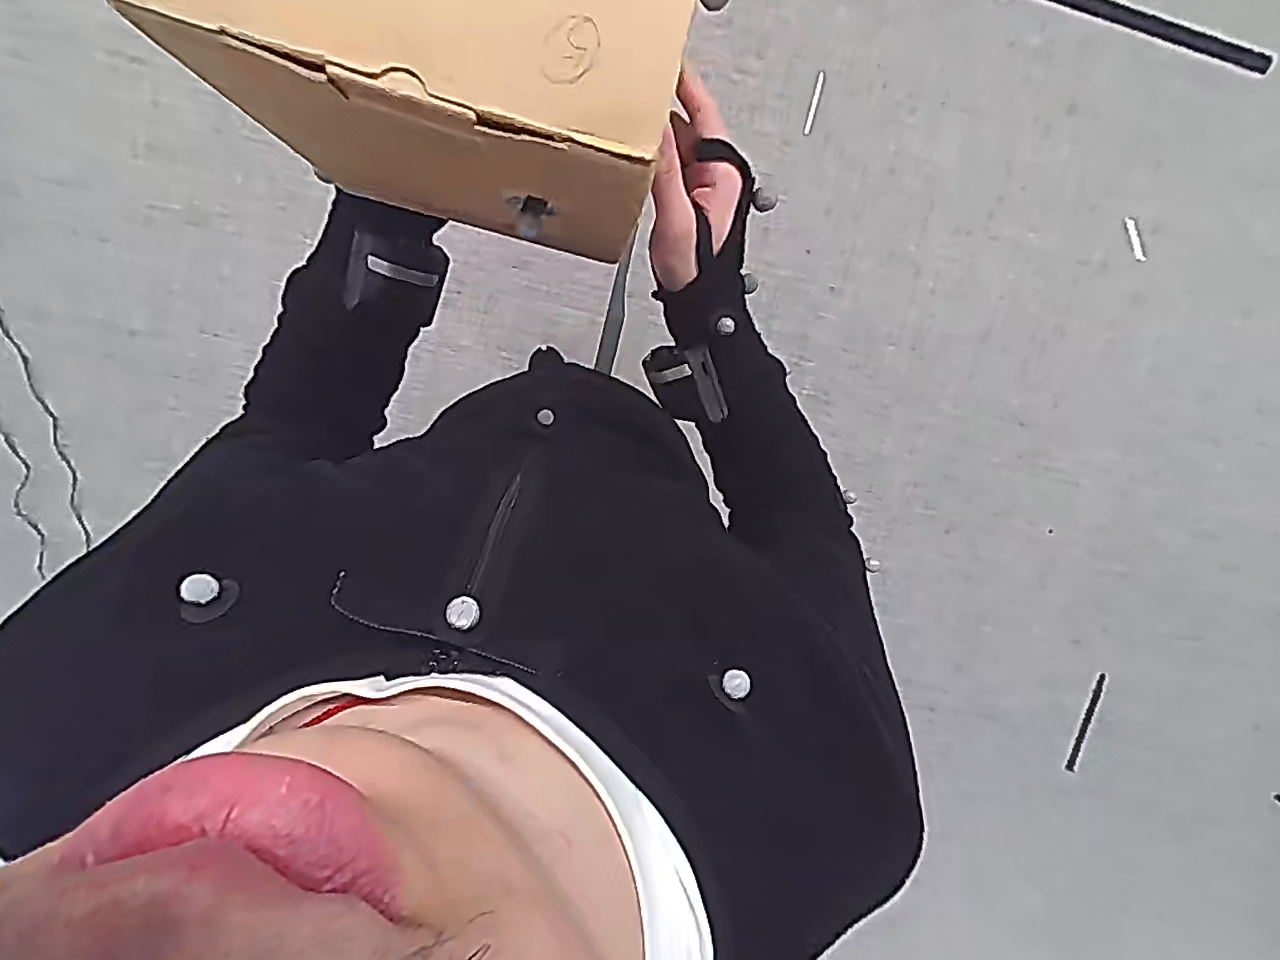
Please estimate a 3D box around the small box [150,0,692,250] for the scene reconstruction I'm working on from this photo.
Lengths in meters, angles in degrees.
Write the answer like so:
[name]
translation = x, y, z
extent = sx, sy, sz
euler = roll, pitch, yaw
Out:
[small box]
translation = -0.063, -0.223, 0.241
extent = 0.168, 0.176, 0.179
euler = 11, 99, -11
